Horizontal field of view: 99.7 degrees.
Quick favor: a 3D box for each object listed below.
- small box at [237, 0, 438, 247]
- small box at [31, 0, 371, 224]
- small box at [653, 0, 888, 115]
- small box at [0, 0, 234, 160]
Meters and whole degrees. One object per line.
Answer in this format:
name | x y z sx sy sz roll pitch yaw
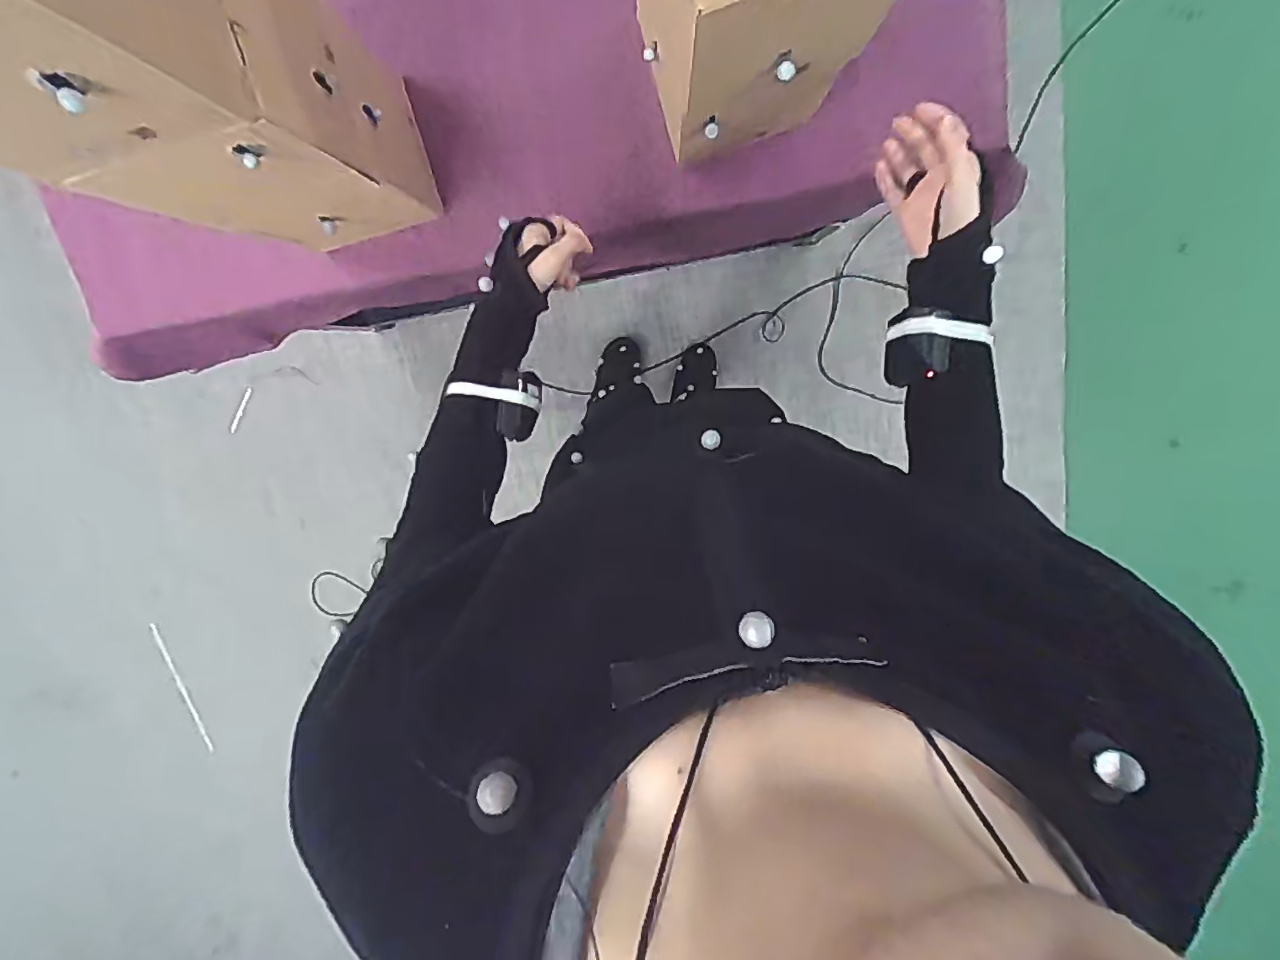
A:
small box | -0.358 -0.375 0.601 0.179 0.176 0.168 -13 103 5
small box | -0.365 -0.331 0.445 0.179 0.176 0.168 -13 103 4
small box | 0.088 -0.420 0.402 0.168 0.176 0.179 -16 102 7
small box | -0.369 -0.295 0.286 0.168 0.176 0.179 -11 102 3
